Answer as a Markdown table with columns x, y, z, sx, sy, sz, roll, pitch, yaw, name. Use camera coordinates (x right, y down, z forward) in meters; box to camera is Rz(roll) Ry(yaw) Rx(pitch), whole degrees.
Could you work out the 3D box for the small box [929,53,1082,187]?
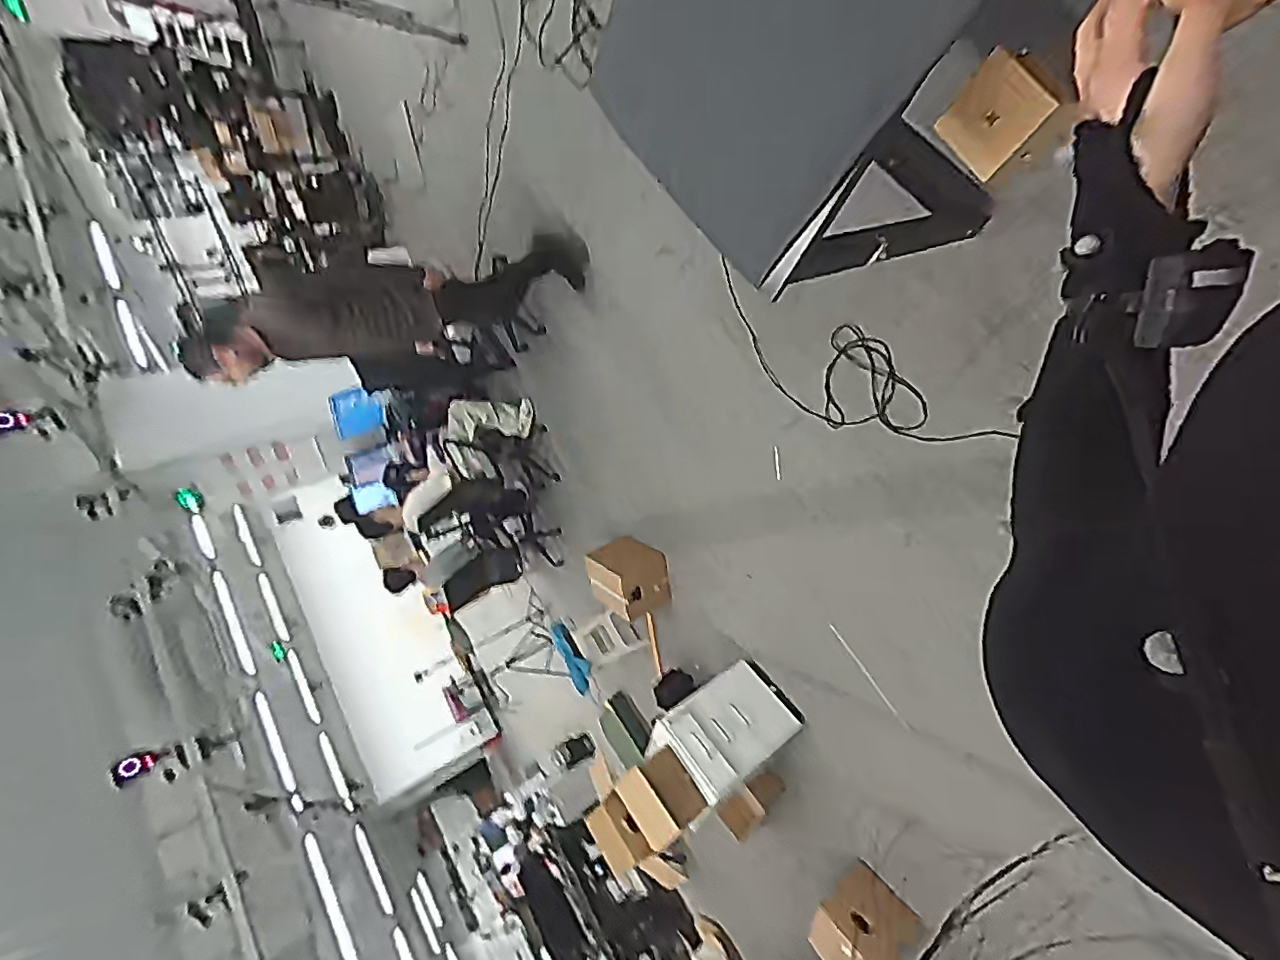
| x | y | z | sx | sy | sz | roll | pitch | yaw | name |
| --- | --- | --- | --- | --- | --- | --- | --- | --- | --- |
| 0.760 | -0.749 | 1.126 | 0.179 | 0.176 | 0.168 | 59 | 150 | 14 | small box |
